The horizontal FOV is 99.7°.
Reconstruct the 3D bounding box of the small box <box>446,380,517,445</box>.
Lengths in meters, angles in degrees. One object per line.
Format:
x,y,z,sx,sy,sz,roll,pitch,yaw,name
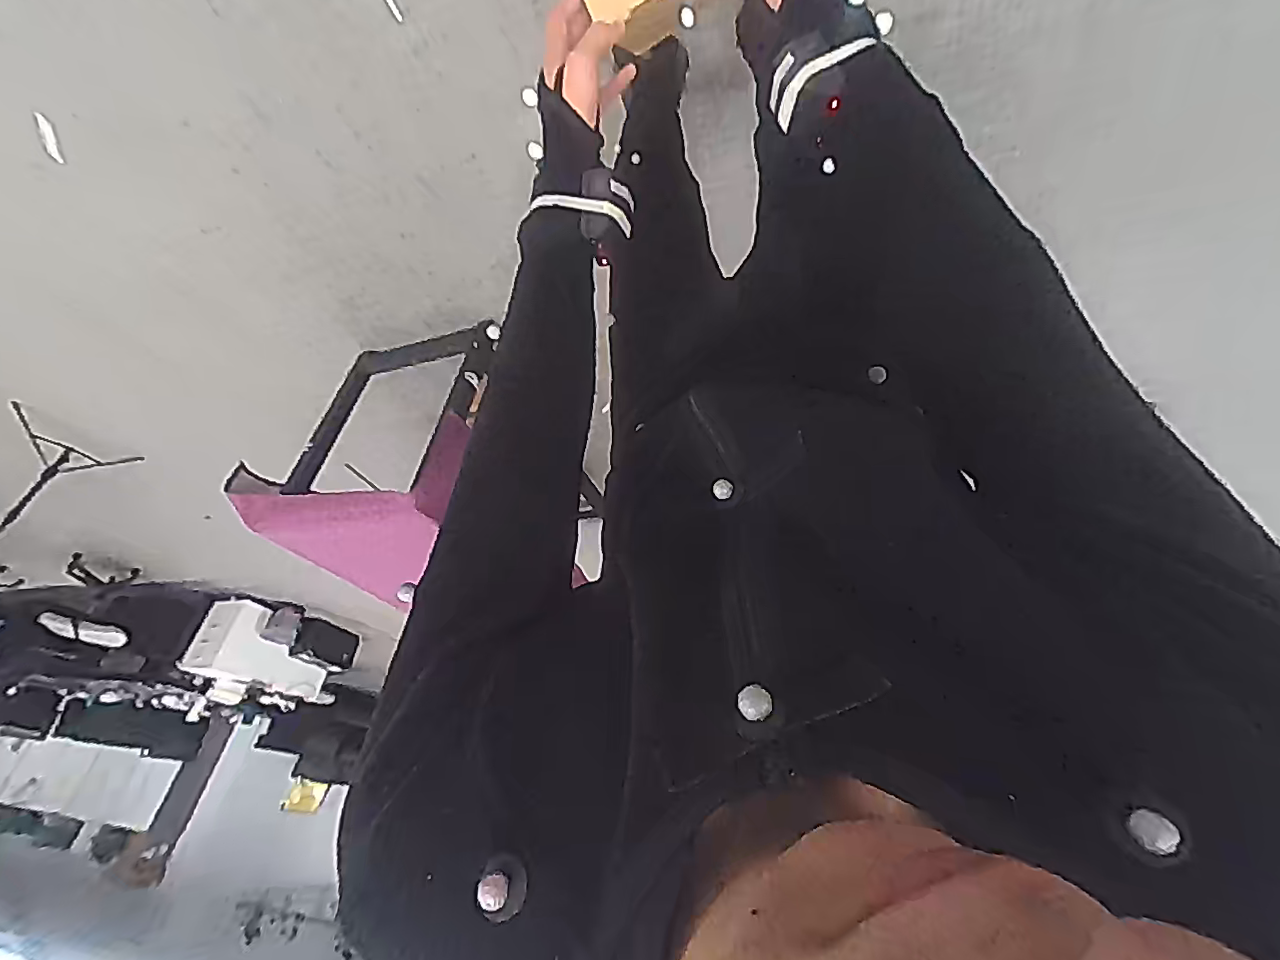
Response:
-0.583,-0.256,2.007,0.168,0.176,0.179,-6,144,20,small box

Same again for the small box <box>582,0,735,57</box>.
0.013,-0.526,0.488,0.168,0.176,0.179,-18,118,23,small box
